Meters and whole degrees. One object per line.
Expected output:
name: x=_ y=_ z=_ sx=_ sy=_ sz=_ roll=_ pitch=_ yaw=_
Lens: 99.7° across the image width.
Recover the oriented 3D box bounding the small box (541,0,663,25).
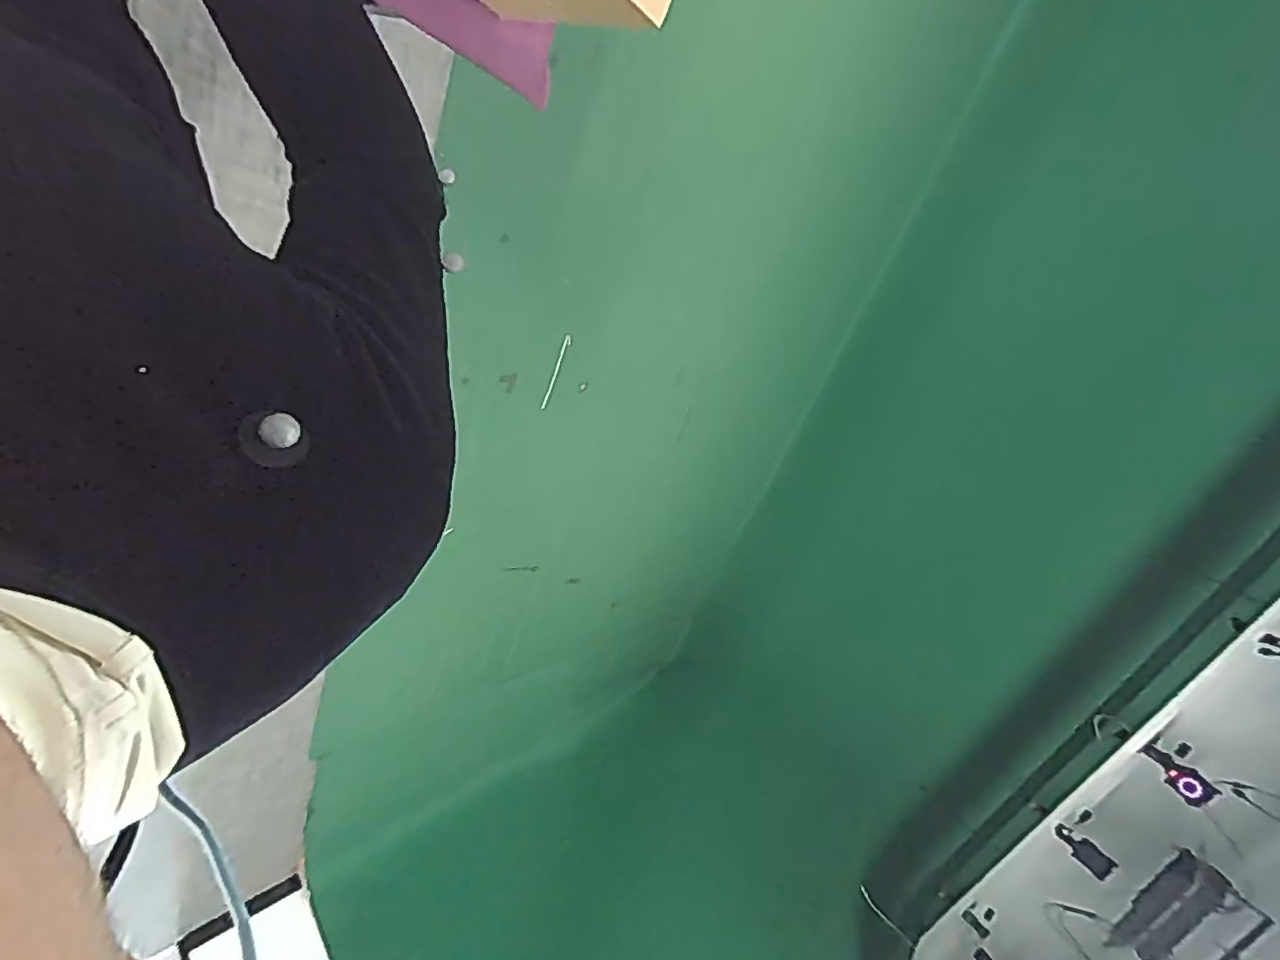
small box: x=-0.057 y=-0.606 z=0.539 sx=0.168 sy=0.176 sz=0.179 roll=0 pitch=121 yaw=-49

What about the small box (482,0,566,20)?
small box: x=-0.170 y=-0.686 z=0.627 sx=0.179 sy=0.176 sz=0.168 roll=-1 pitch=121 yaw=-51
